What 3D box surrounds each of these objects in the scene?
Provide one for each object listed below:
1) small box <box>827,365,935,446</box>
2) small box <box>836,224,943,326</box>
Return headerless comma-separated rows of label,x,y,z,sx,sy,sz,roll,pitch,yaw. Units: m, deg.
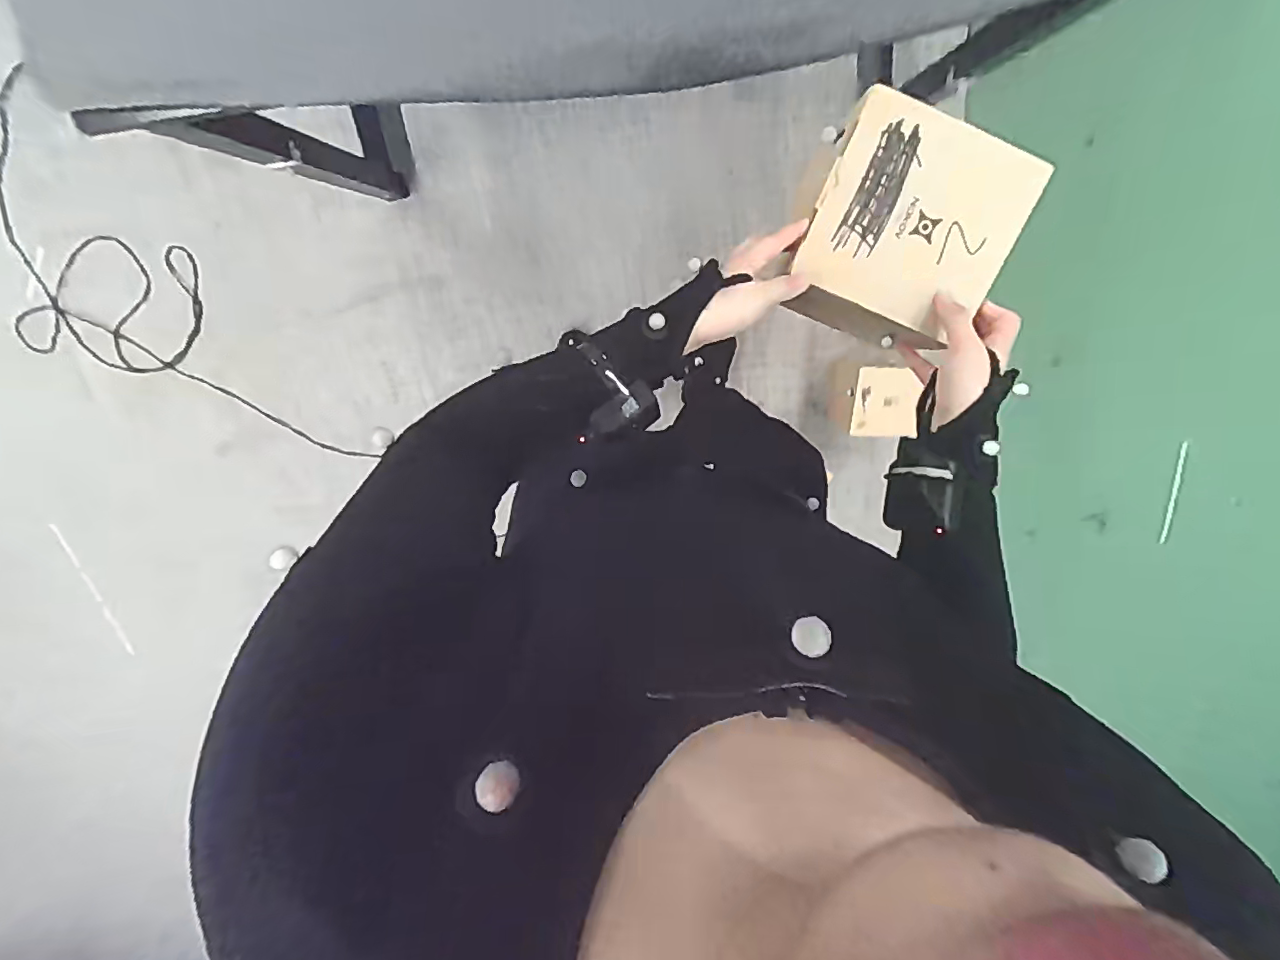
small box,0.587,-0.189,1.338,0.179,0.176,0.168,2,111,0
small box,0.565,-0.467,1.236,0.168,0.176,0.179,-14,110,5
